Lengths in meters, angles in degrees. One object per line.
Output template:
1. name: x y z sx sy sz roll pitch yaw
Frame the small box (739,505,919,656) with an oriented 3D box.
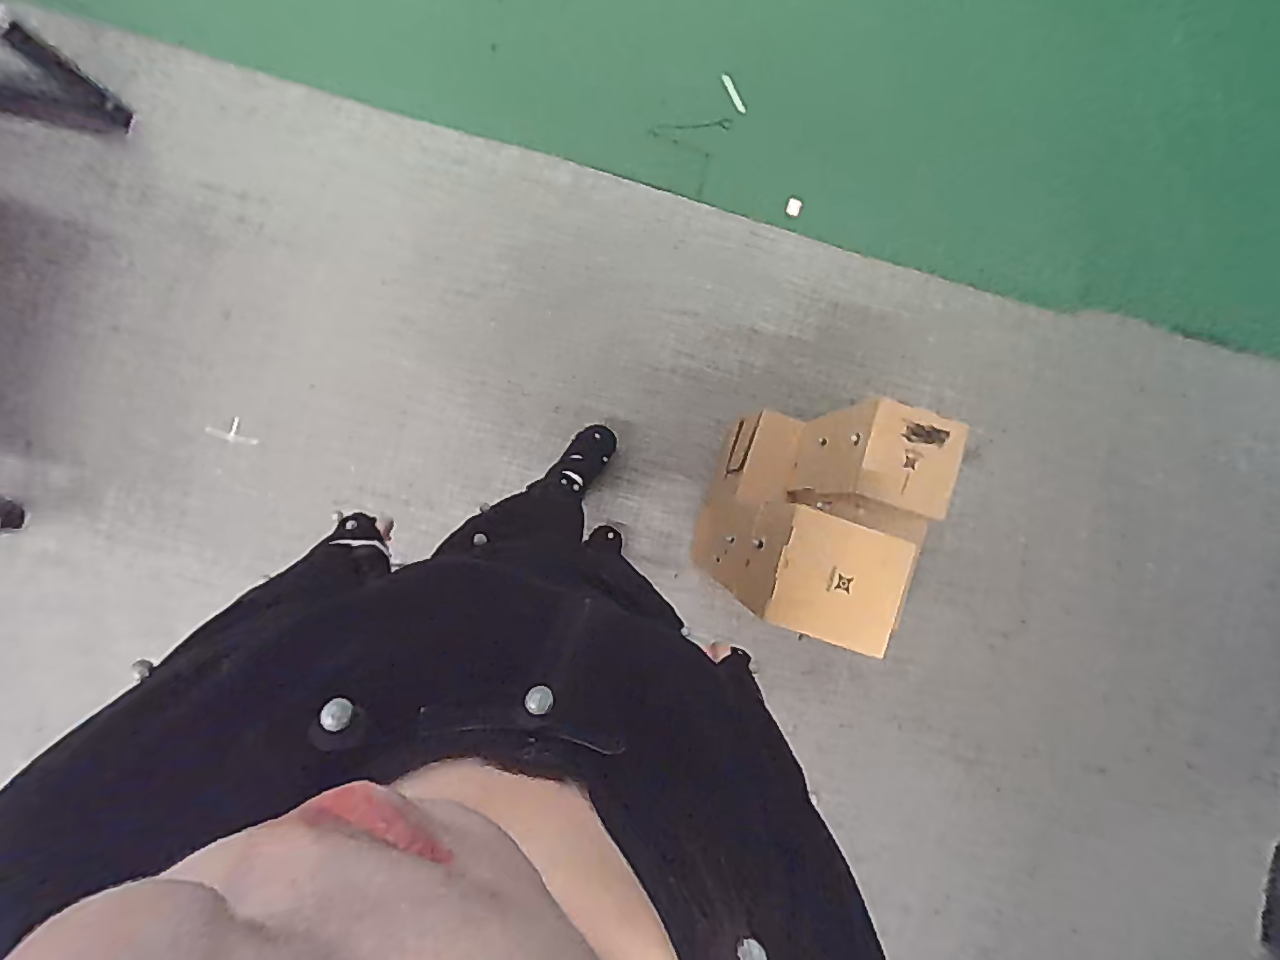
1. small box: 0.270 0.137 0.808 0.179 0.176 0.168 18 88 -3

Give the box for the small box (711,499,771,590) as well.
1. small box: 0.257 0.145 1.135 0.168 0.176 0.179 16 87 -4

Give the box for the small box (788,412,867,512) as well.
1. small box: 0.446 -0.033 1.156 0.179 0.176 0.168 18 86 -5

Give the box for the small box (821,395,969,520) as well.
1. small box: 0.455 -0.034 0.989 0.168 0.176 0.179 17 86 -4
